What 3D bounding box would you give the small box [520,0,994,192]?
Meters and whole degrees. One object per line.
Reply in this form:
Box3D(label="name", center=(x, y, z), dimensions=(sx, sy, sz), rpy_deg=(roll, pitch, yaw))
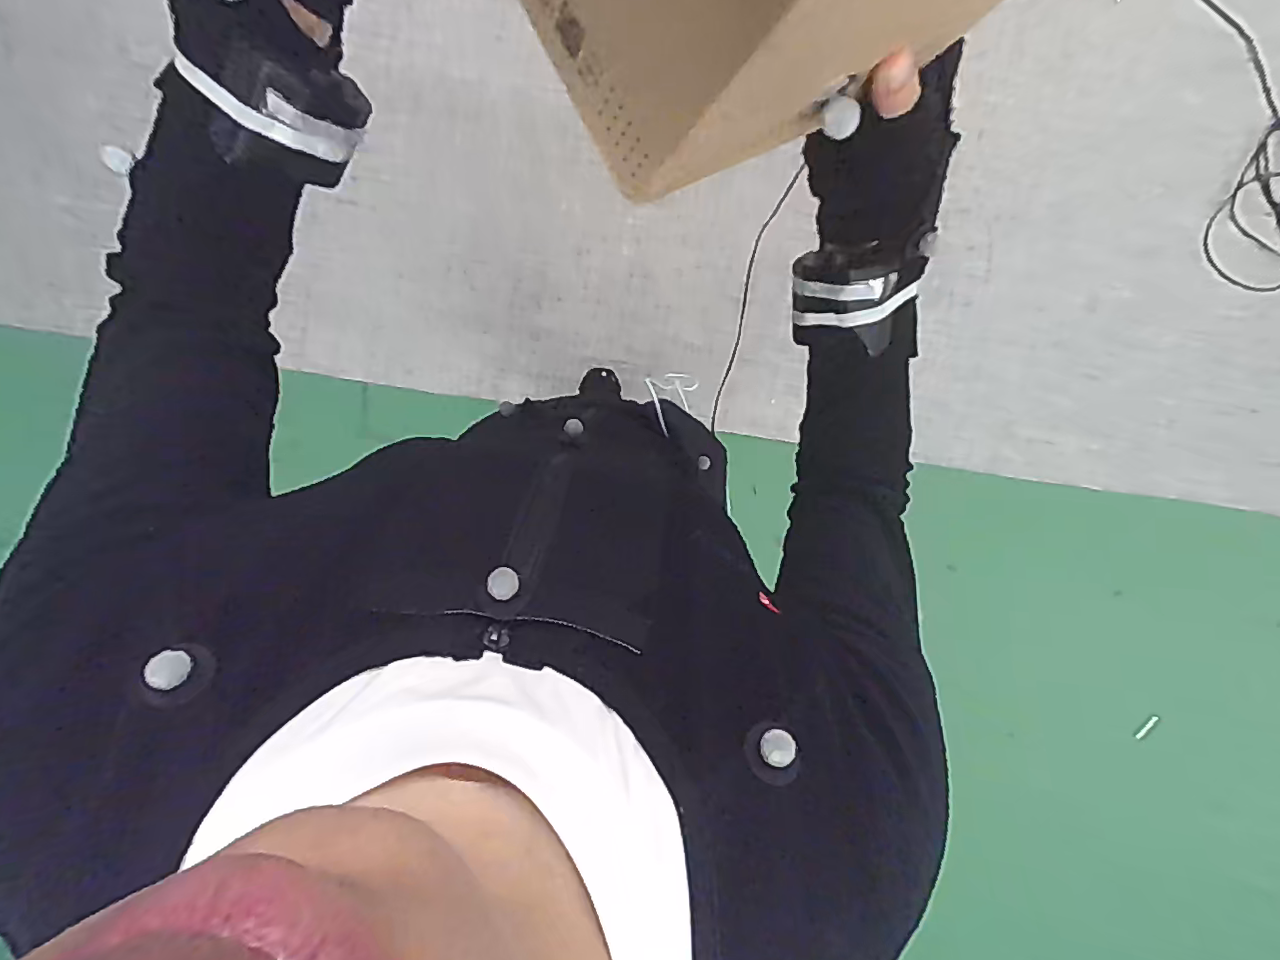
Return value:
Box3D(label="small box", center=(0.055, -0.230, 0.170), dimensions=(0.179, 0.176, 0.168), rpy_deg=(-34, 102, -22))
